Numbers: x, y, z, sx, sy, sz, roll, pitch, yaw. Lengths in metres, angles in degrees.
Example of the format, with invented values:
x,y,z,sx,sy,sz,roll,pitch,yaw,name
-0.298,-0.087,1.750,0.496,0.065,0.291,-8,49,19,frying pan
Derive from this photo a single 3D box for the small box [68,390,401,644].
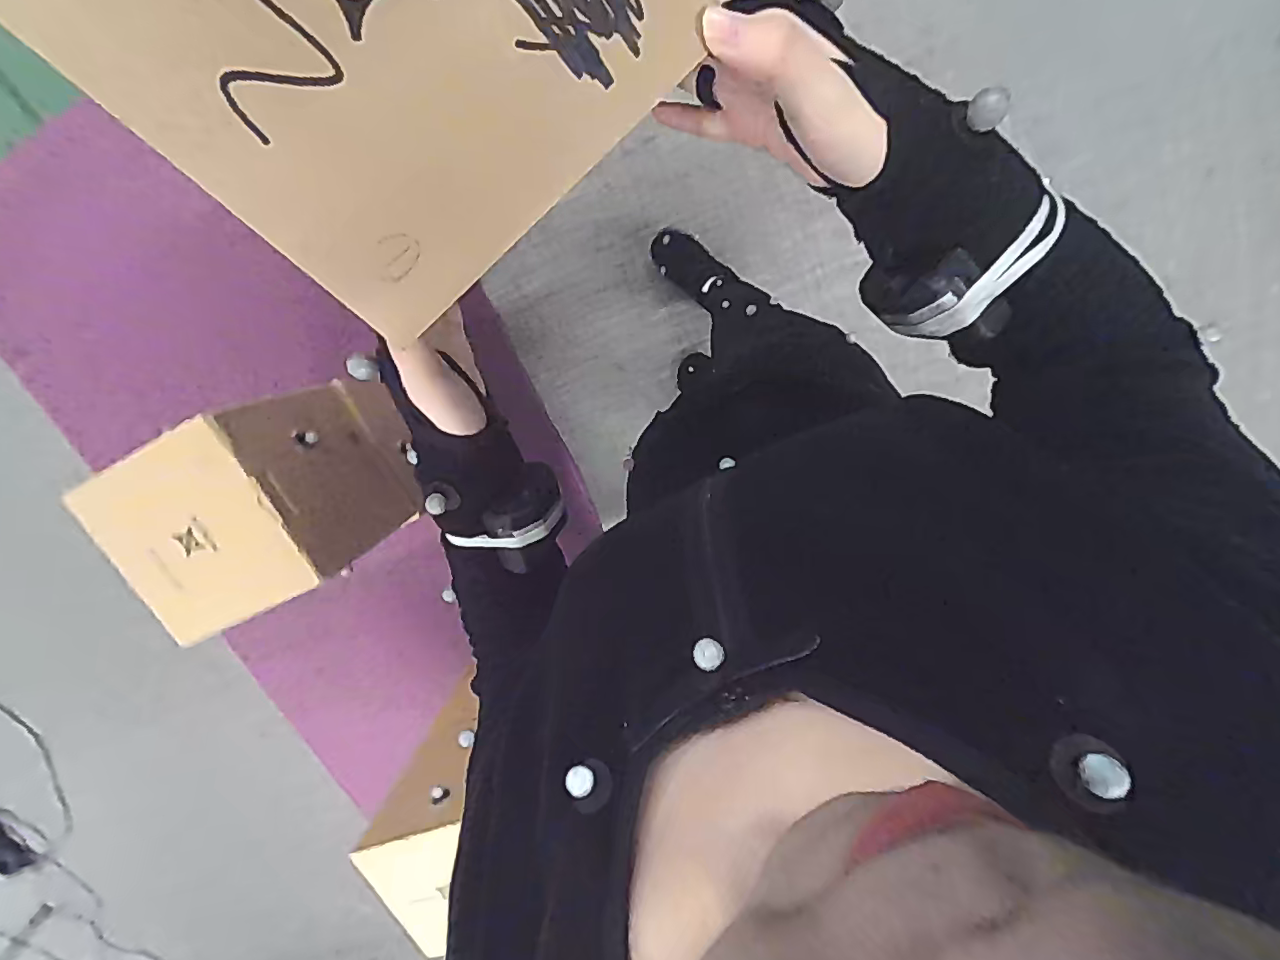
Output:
x,y,z,sx,sy,sz,roll,pitch,yaw,name
-0.372,0.025,0.540,0.179,0.176,0.168,-24,104,13,small box

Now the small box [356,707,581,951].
x,y,z,sx,sy,sz,roll,pitch,yaw,name
-0.185,0.406,0.650,0.179,0.176,0.168,-23,104,14,small box

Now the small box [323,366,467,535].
x,y,z,sx,sy,sz,roll,pitch,yaw,name
-0.352,-0.028,0.693,0.168,0.176,0.179,-22,106,11,small box
